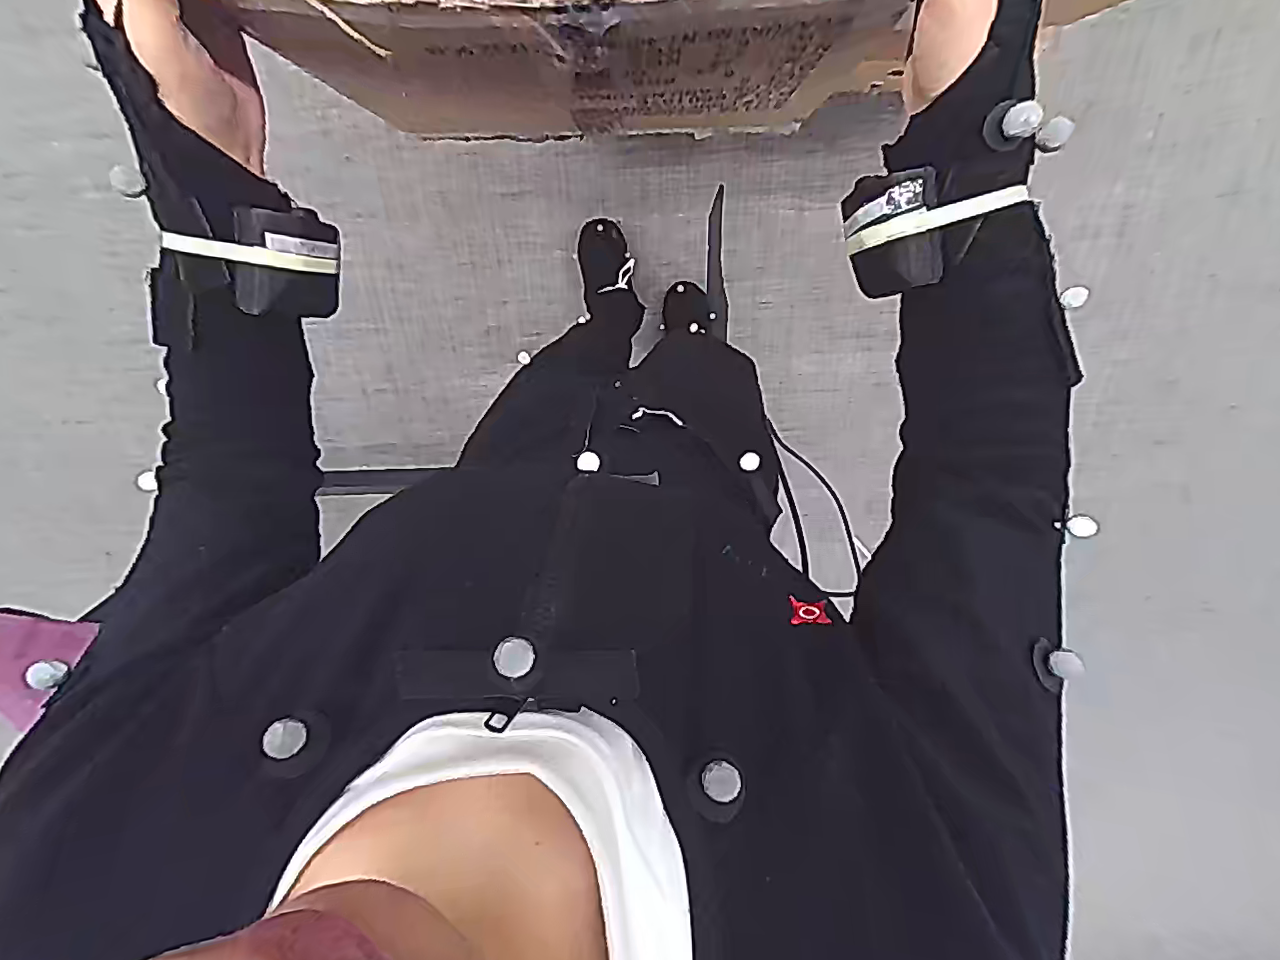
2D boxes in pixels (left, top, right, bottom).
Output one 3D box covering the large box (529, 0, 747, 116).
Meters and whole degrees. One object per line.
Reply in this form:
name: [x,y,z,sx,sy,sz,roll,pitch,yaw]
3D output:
large box: [-0.008,-0.838,0.851,0.320,0.320,0.408,-2,119,3]
